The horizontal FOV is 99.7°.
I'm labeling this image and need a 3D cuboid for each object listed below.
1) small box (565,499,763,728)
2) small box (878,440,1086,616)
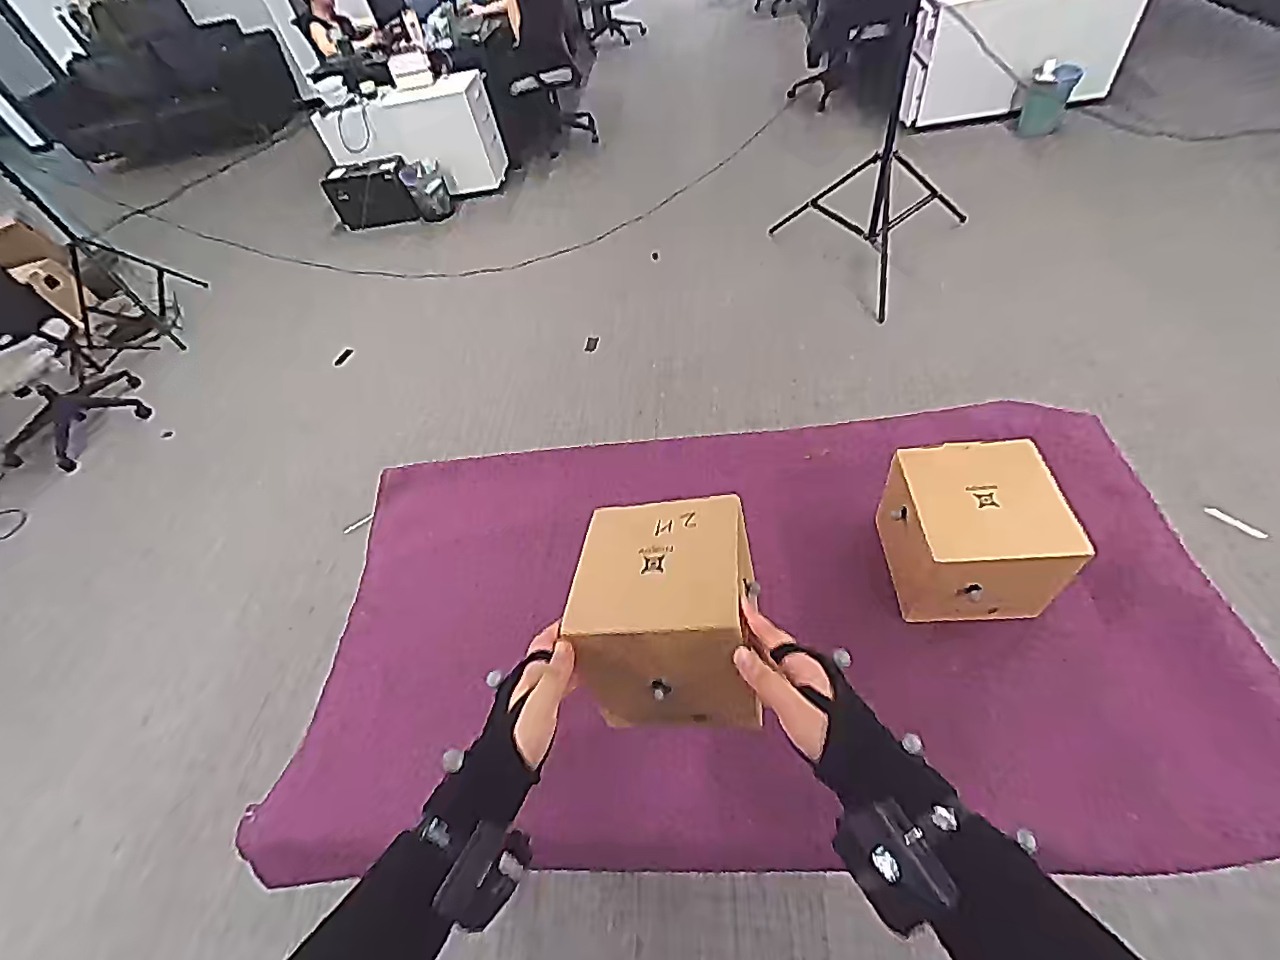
[{"bbox_3d":[0.039,0.145,0.579,0.168,0.176,0.179,-6,37,14],"label":"small box"},{"bbox_3d":[0.430,0.072,0.718,0.168,0.176,0.179,-5,50,9],"label":"small box"}]
